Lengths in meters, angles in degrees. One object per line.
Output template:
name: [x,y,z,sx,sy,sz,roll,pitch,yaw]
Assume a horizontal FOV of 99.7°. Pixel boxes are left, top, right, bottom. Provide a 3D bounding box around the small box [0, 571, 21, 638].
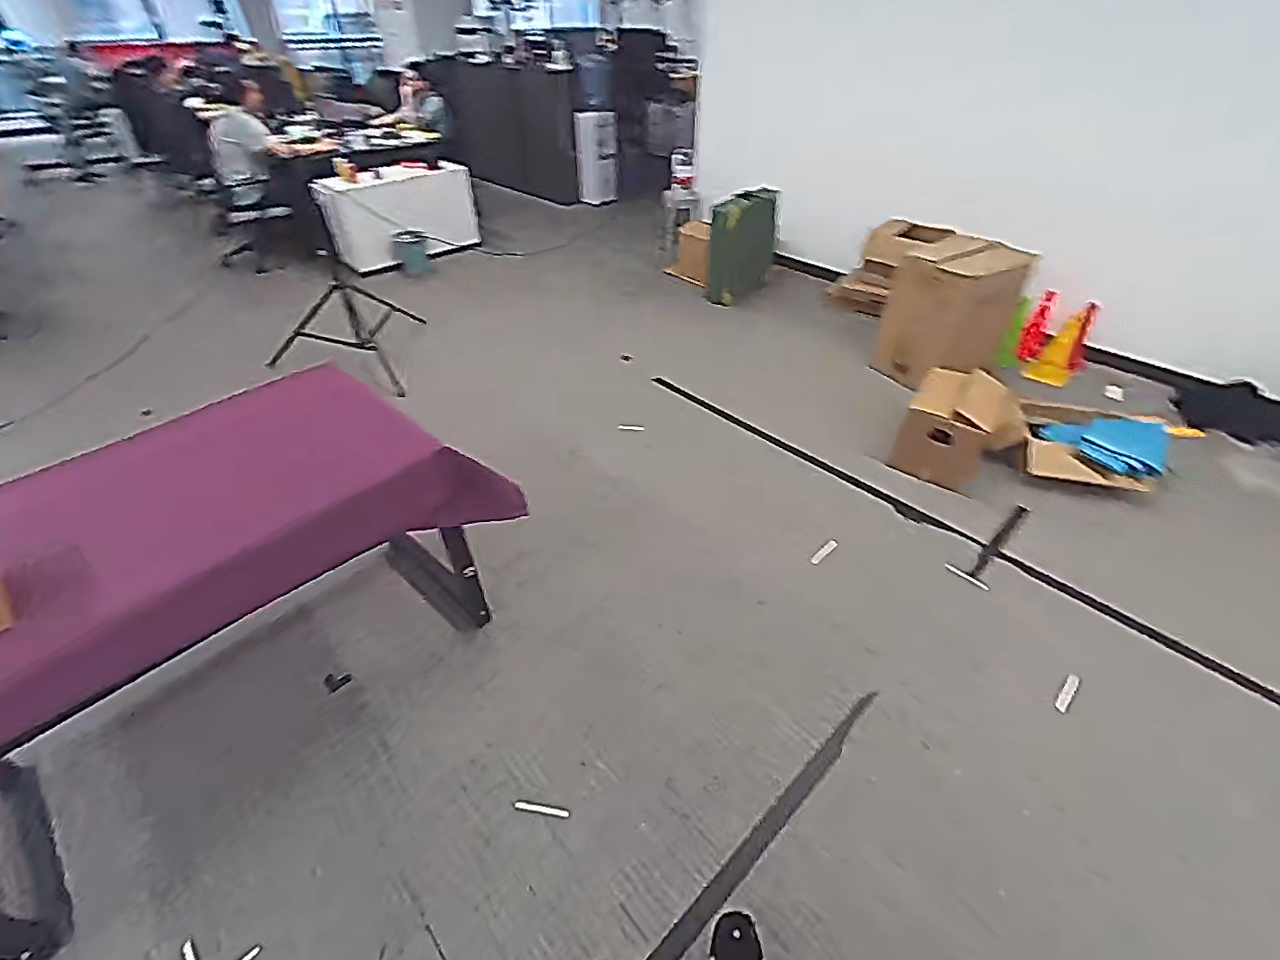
small box: [-1.189,0.195,0.884,0.179,0.176,0.168,31,50,30]
